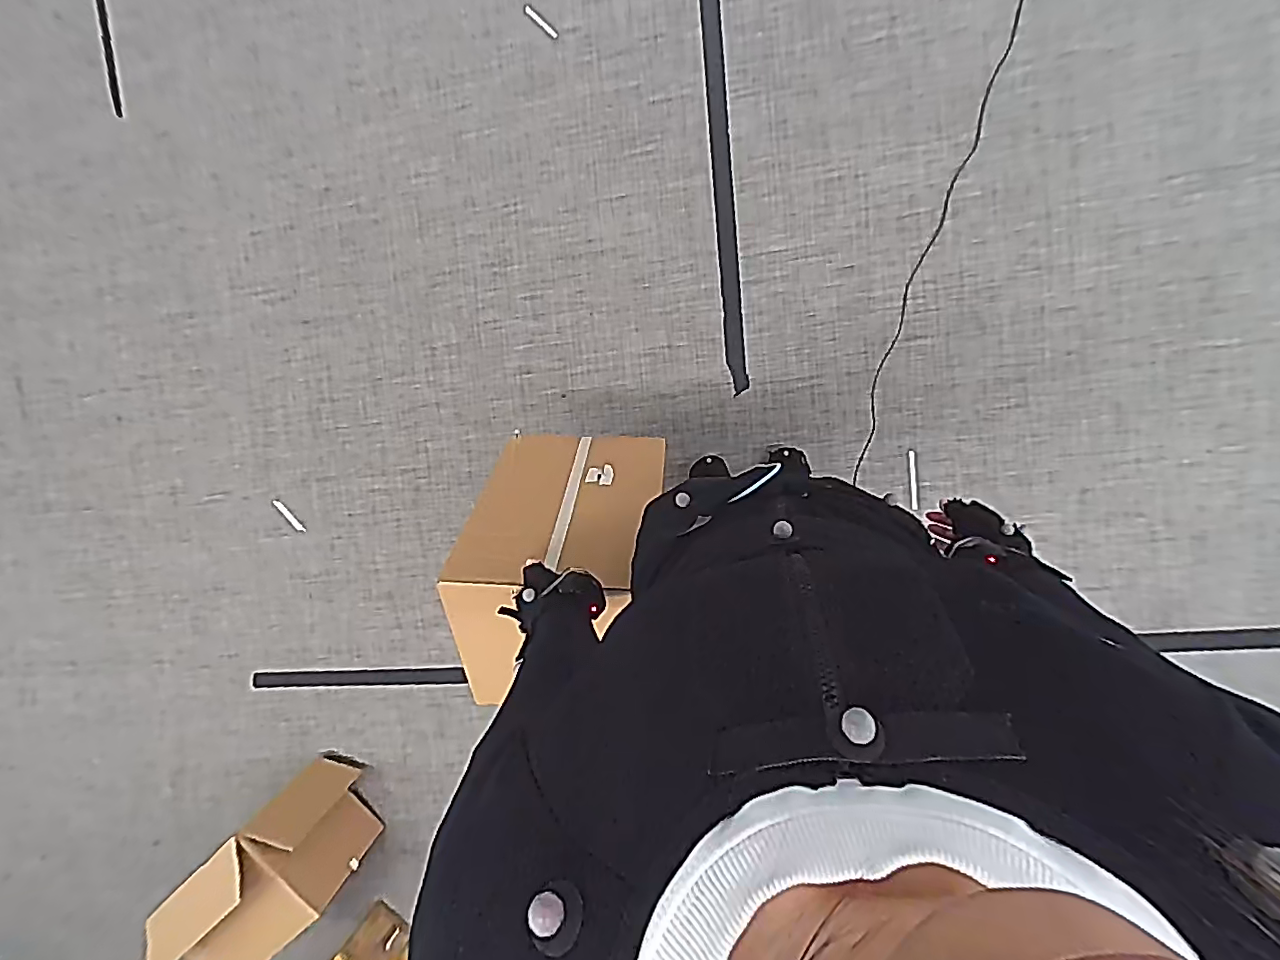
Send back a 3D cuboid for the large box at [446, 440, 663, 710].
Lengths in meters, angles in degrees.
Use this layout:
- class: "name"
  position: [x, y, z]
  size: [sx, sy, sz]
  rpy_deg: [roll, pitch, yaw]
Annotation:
- class: "large box"
  position: [-0.118, 0.162, 1.010]
  size: [0.320, 0.408, 0.320]
  rpy_deg: [3, 125, 3]
